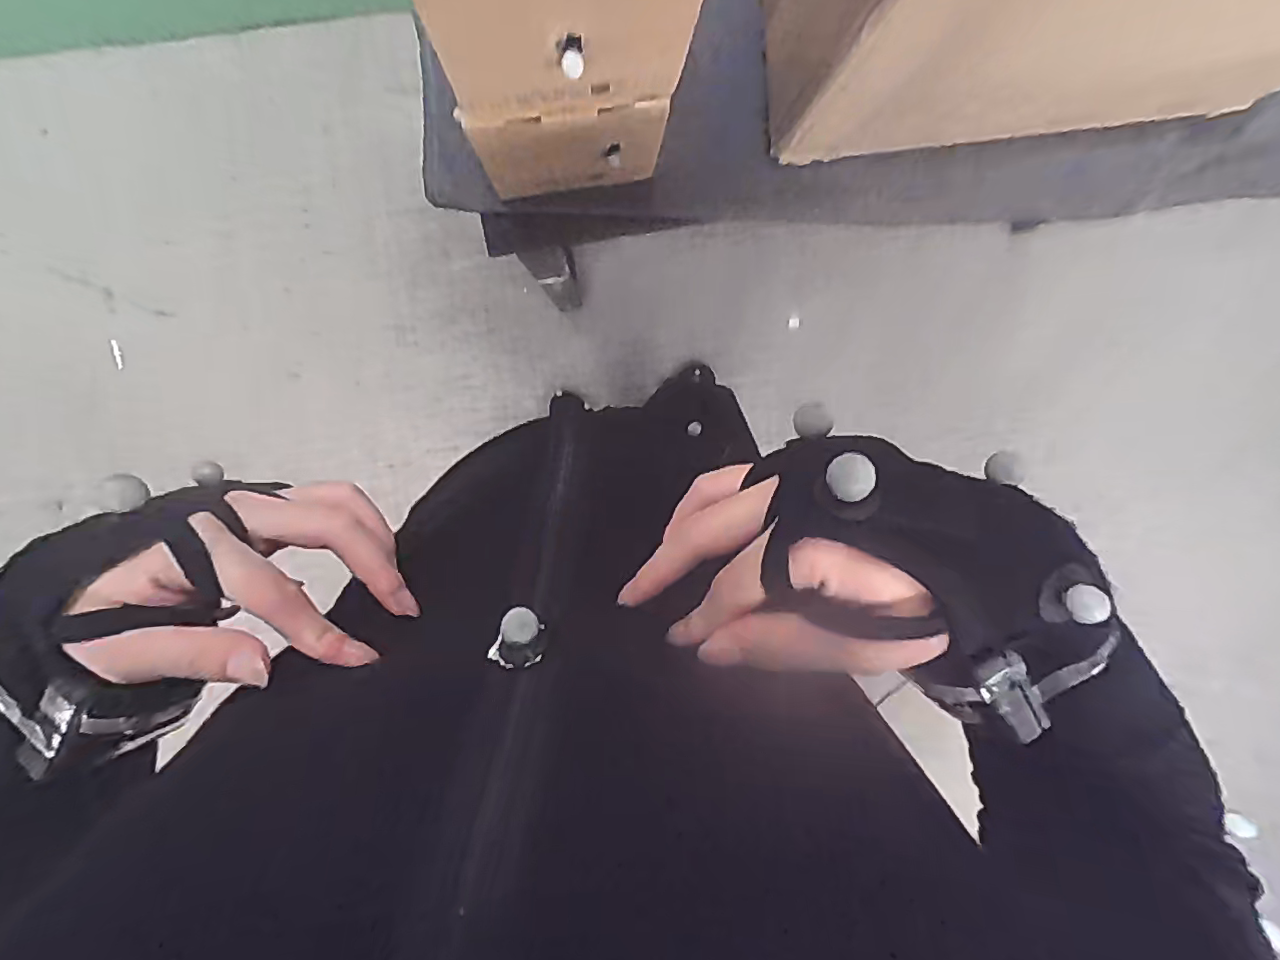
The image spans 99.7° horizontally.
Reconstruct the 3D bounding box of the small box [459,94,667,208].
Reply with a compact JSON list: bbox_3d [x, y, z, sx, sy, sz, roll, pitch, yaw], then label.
[{"bbox_3d":[-0.076,-0.372,0.501,0.168,0.176,0.179,-10,99,-4],"label":"small box"}]

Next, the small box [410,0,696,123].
[{"bbox_3d":[-0.057,-0.354,0.339,0.168,0.176,0.179,-10,100,-4],"label":"small box"}]
